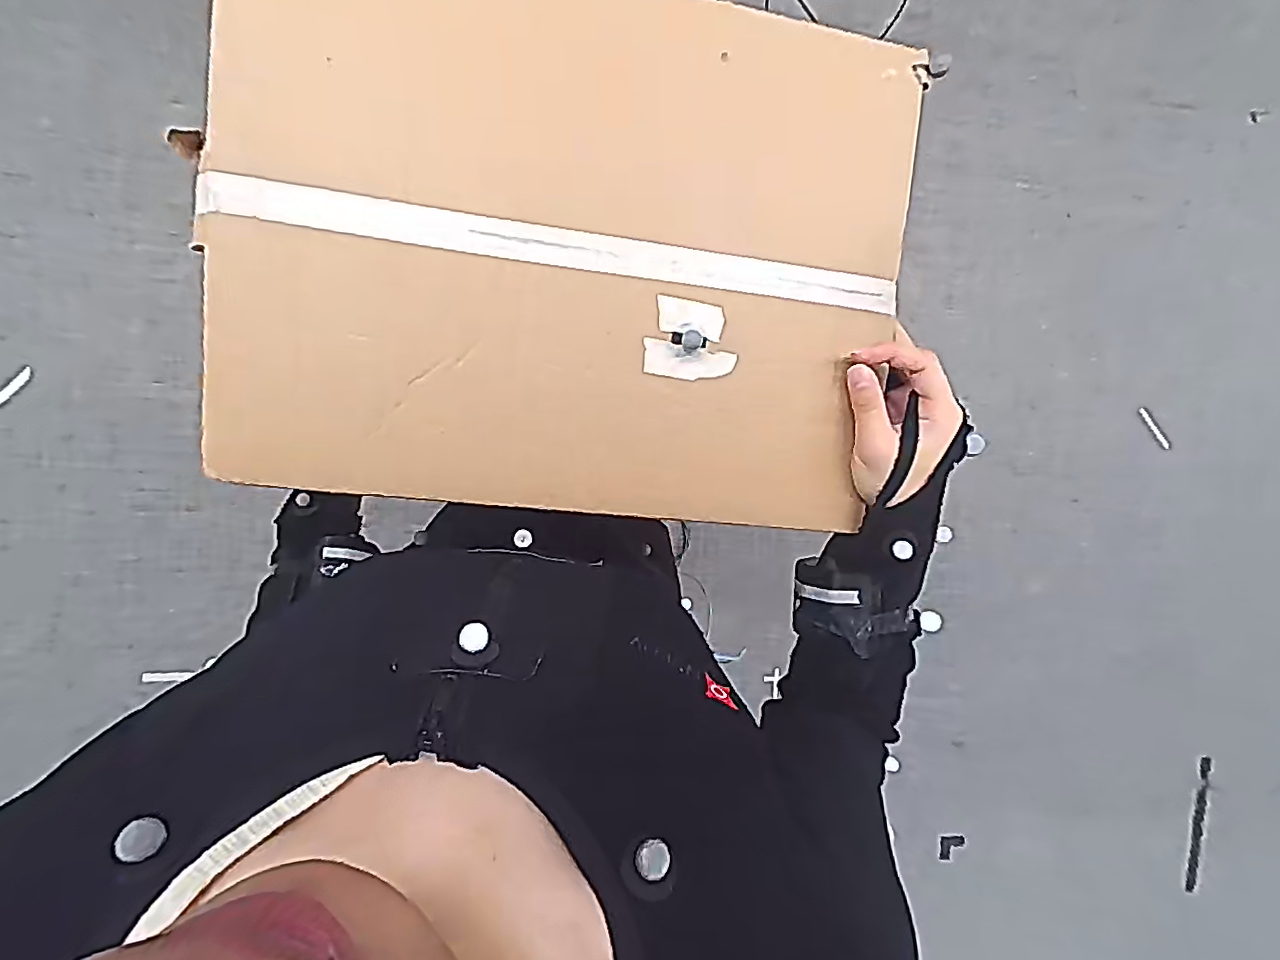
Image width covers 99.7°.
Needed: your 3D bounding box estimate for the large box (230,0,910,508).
[{"bbox_3d":[-0.055,-0.159,0.478,0.408,0.320,0.320,5,96,-11],"label":"large box"}]
